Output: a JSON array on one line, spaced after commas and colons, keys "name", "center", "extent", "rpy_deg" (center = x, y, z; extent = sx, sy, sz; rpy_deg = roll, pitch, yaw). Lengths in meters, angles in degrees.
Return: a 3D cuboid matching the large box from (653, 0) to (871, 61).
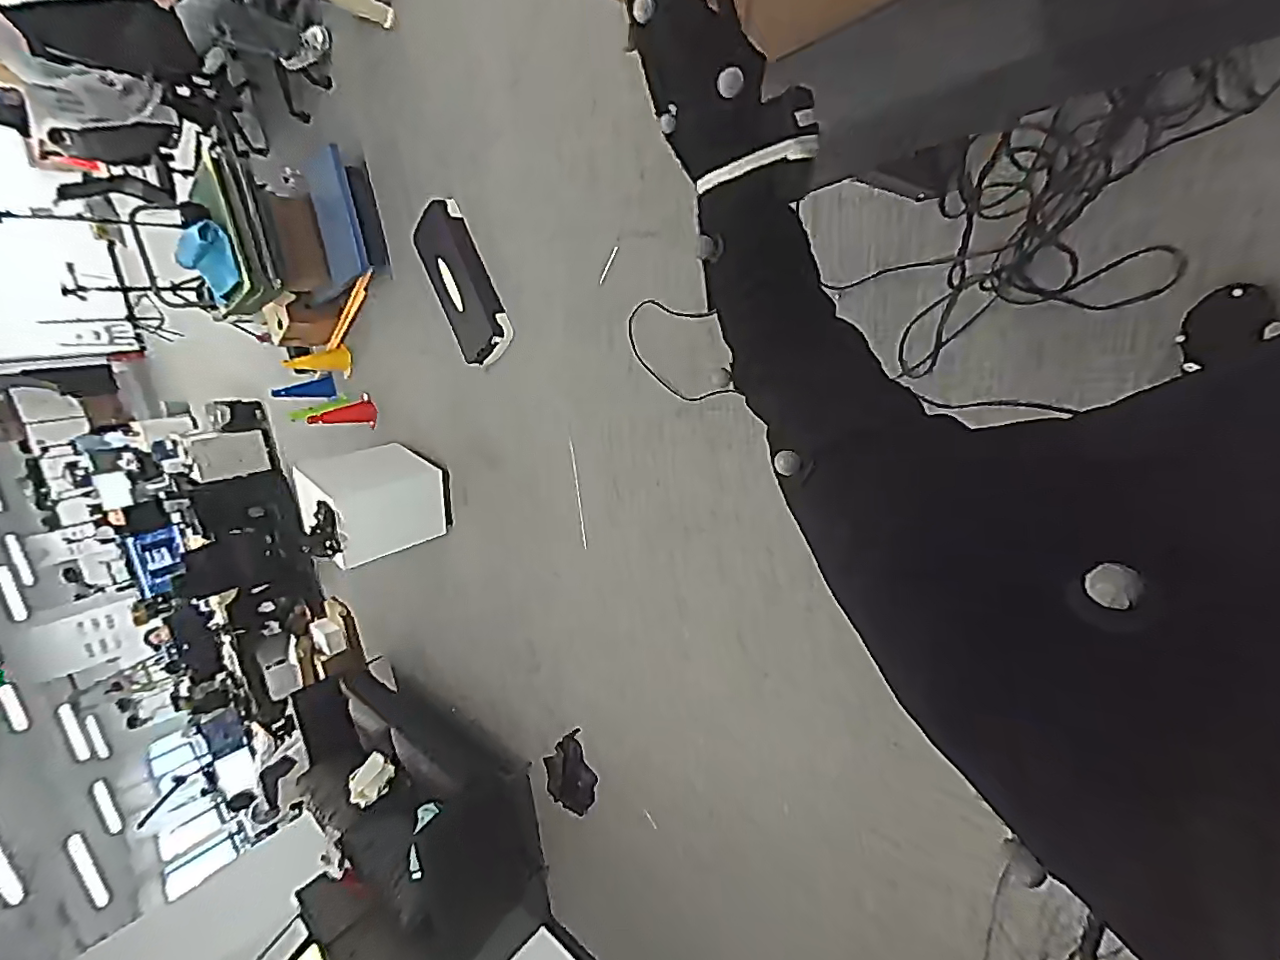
[{"name": "large box", "center": [0.157, -0.578, 0.352], "extent": [0.408, 0.320, 0.320], "rpy_deg": [4, 107, 41]}]
